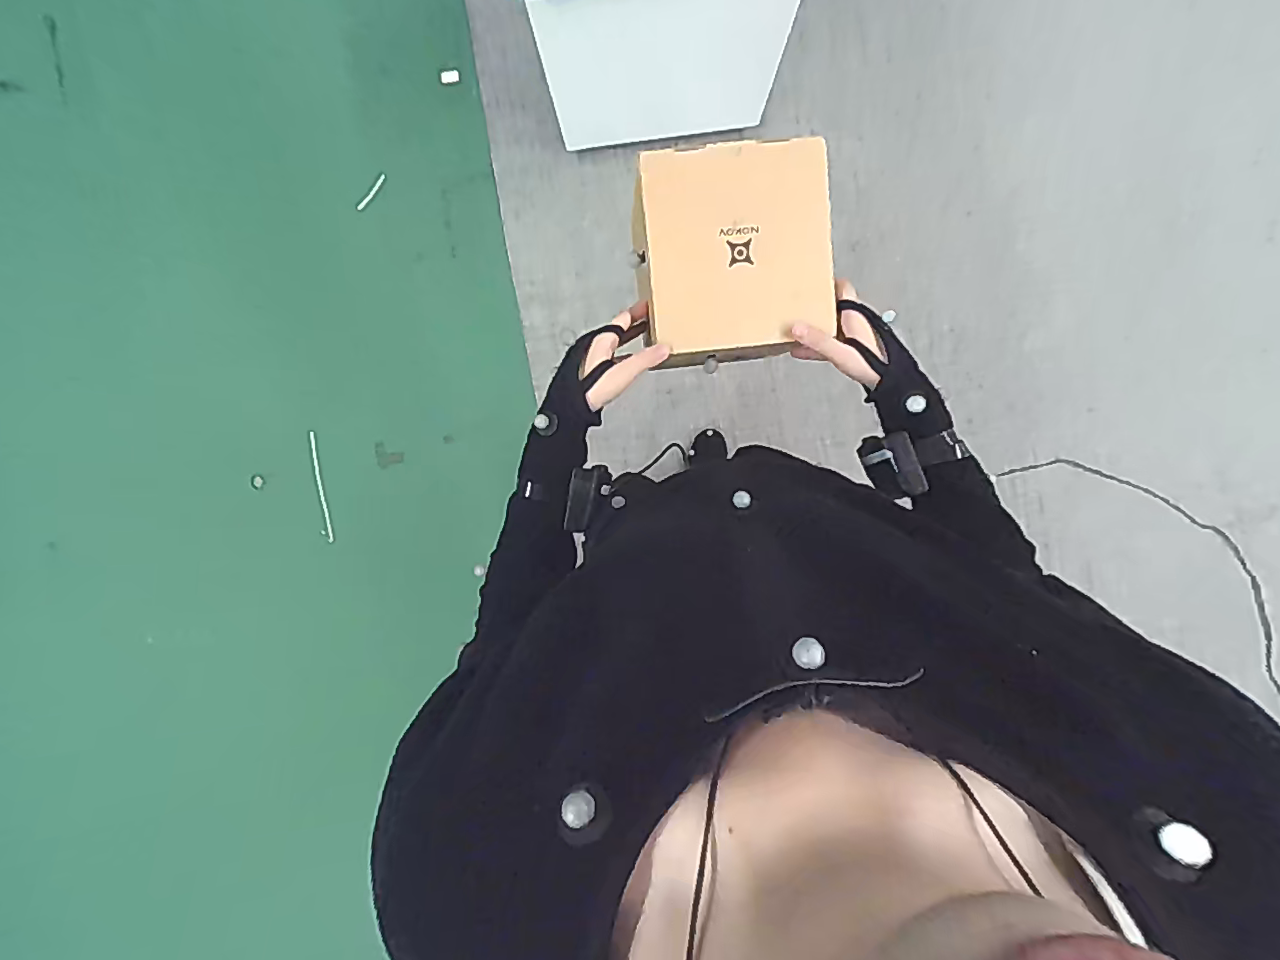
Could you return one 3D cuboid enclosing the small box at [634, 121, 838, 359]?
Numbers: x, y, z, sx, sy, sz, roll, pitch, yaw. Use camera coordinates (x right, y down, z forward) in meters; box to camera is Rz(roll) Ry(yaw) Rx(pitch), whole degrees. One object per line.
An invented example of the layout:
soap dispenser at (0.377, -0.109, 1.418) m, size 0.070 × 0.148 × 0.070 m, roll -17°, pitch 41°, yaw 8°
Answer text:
small box at (0.084, -0.220, 0.546) m, size 0.168 × 0.176 × 0.179 m, roll -7°, pitch 96°, yaw -2°
